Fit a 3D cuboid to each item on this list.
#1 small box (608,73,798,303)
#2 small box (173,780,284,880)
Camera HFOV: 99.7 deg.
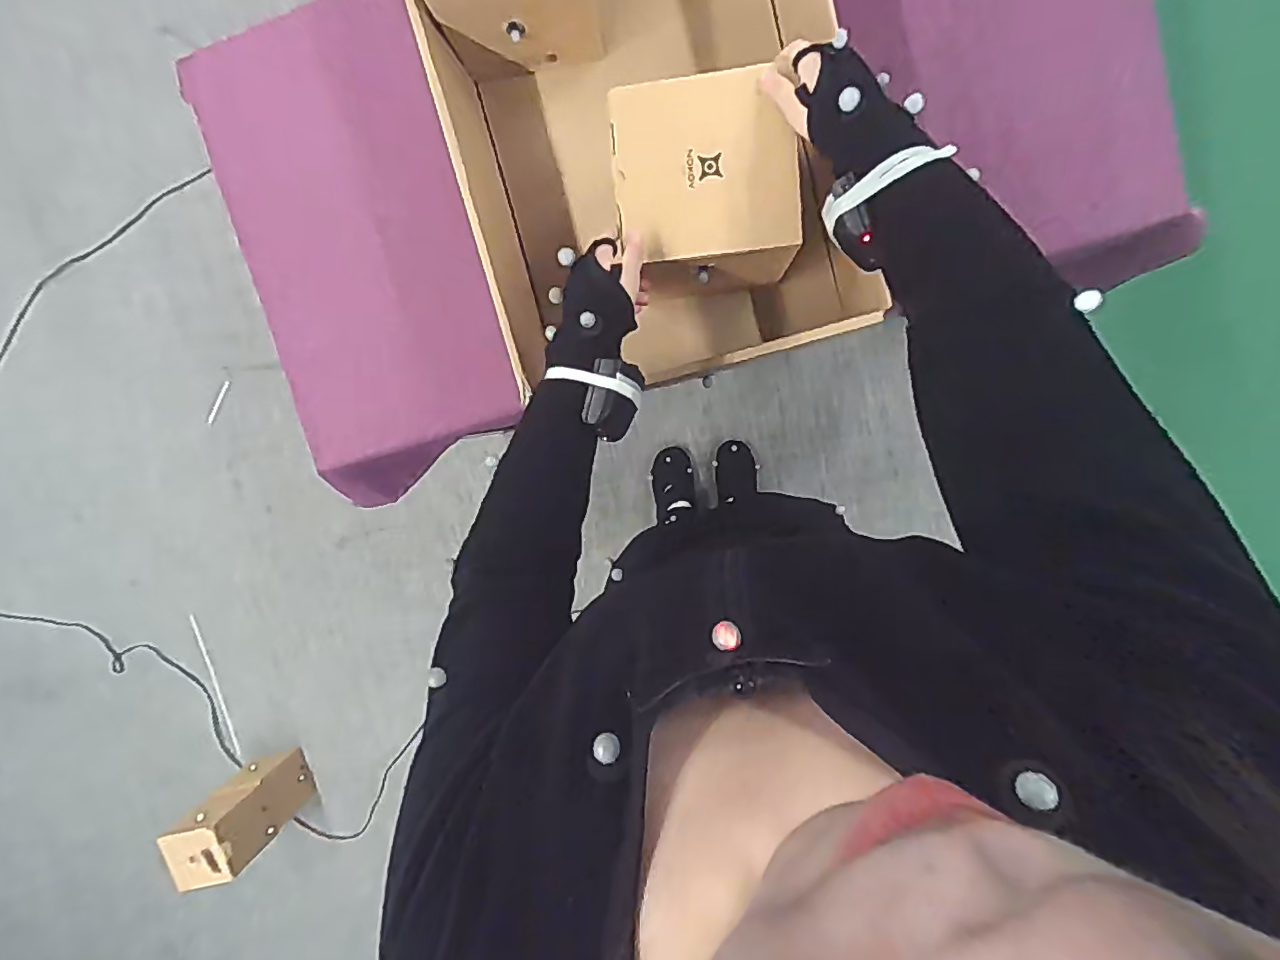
[{"bbox_3d":[0.071,-0.305,0.605,0.179,0.176,0.168,-5,96,9],"label":"small box"},{"bbox_3d":[-1.166,0.995,1.551,0.179,0.176,0.168,-15,95,10],"label":"small box"}]
